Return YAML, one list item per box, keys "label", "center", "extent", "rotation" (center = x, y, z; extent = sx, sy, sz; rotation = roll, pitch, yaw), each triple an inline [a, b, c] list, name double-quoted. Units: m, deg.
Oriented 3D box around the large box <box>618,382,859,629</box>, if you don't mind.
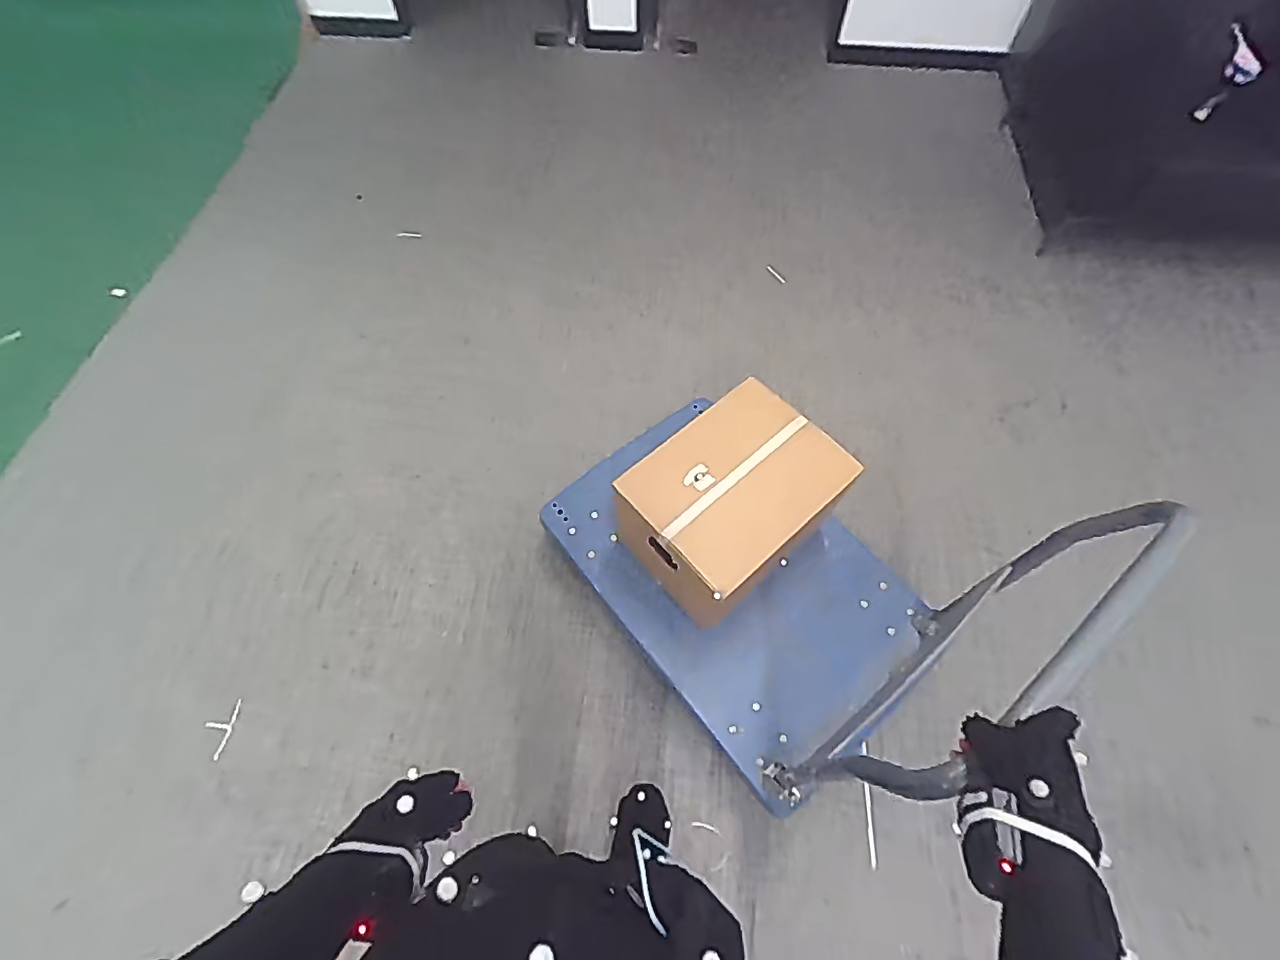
- label: "large box"
  center: [0.202, 0.064, 1.218]
  extent: [0.408, 0.320, 0.320]
  rotation: [-38, 68, -17]
